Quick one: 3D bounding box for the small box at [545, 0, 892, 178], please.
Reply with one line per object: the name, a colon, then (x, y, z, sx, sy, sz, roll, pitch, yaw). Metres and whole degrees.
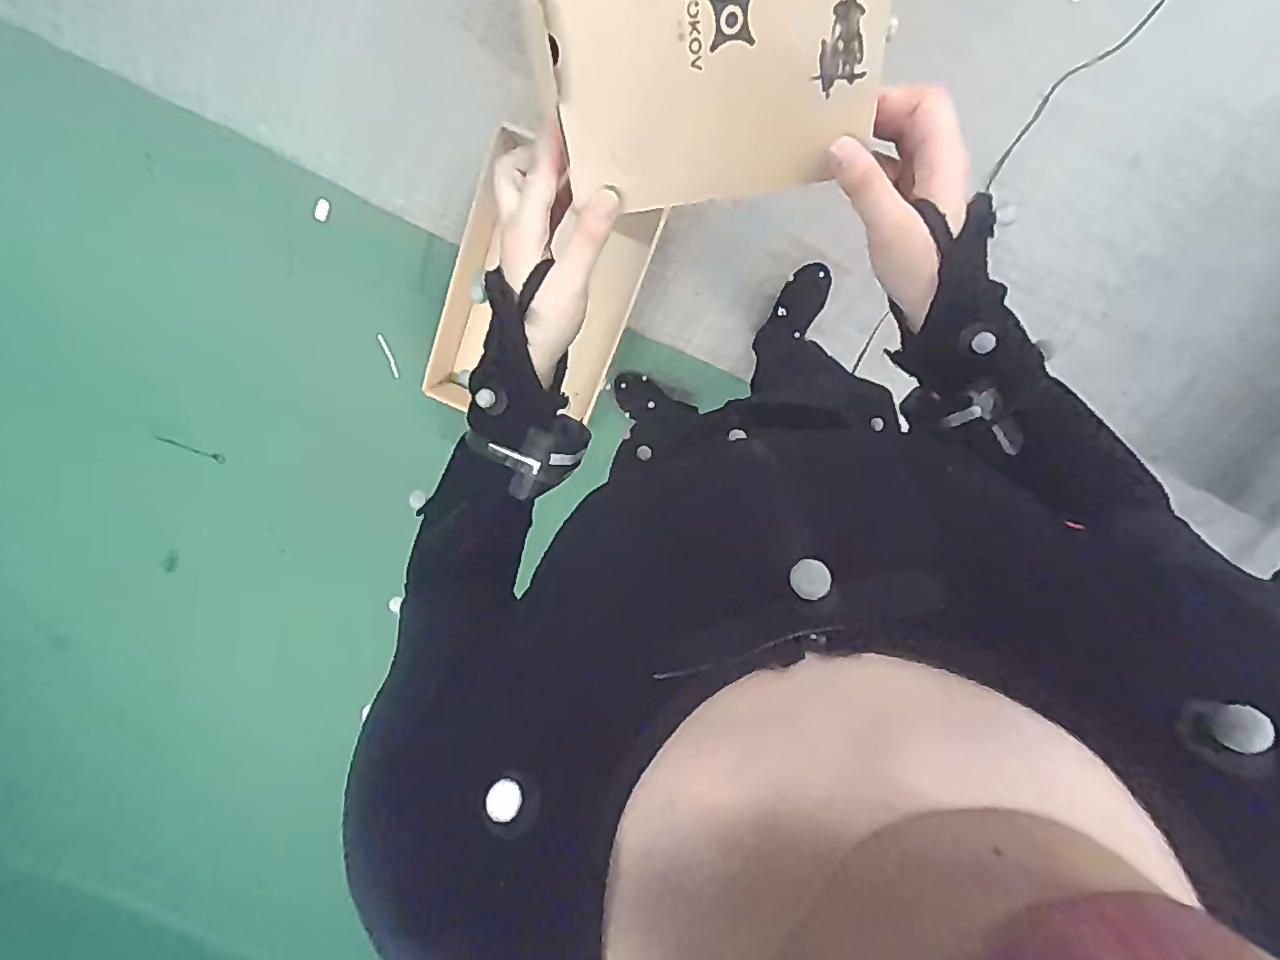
small box: (0.038, -0.301, 0.323, 0.179, 0.176, 0.168, -6, 133, 5)
